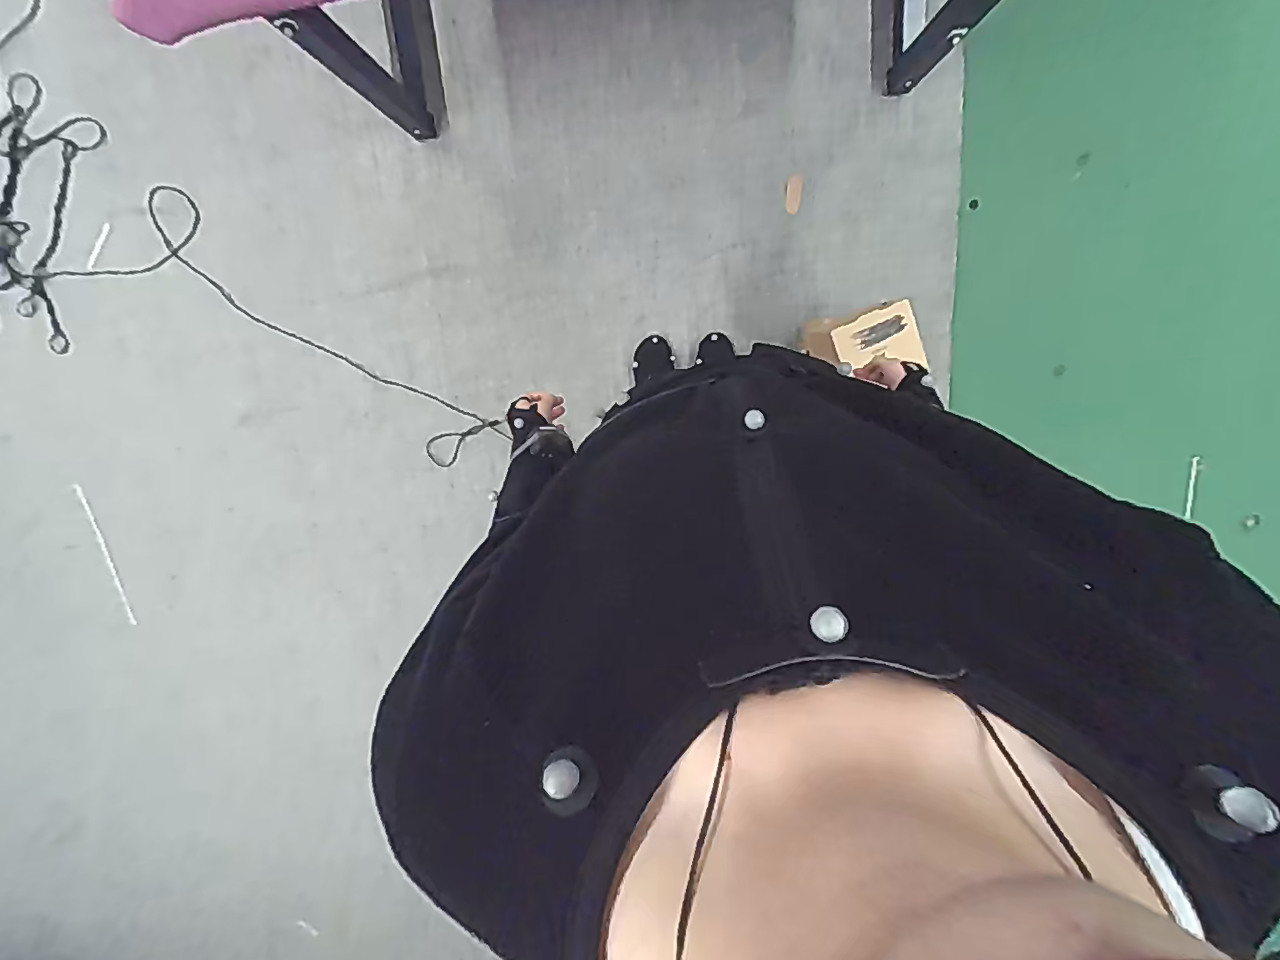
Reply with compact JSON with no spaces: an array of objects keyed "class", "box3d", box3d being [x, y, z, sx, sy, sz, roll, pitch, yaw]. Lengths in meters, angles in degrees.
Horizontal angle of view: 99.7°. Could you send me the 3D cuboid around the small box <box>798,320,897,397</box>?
[{"class":"small box","box3d":[0.505,-0.304,1.347,0.179,0.176,0.168,6,105,1]}]
